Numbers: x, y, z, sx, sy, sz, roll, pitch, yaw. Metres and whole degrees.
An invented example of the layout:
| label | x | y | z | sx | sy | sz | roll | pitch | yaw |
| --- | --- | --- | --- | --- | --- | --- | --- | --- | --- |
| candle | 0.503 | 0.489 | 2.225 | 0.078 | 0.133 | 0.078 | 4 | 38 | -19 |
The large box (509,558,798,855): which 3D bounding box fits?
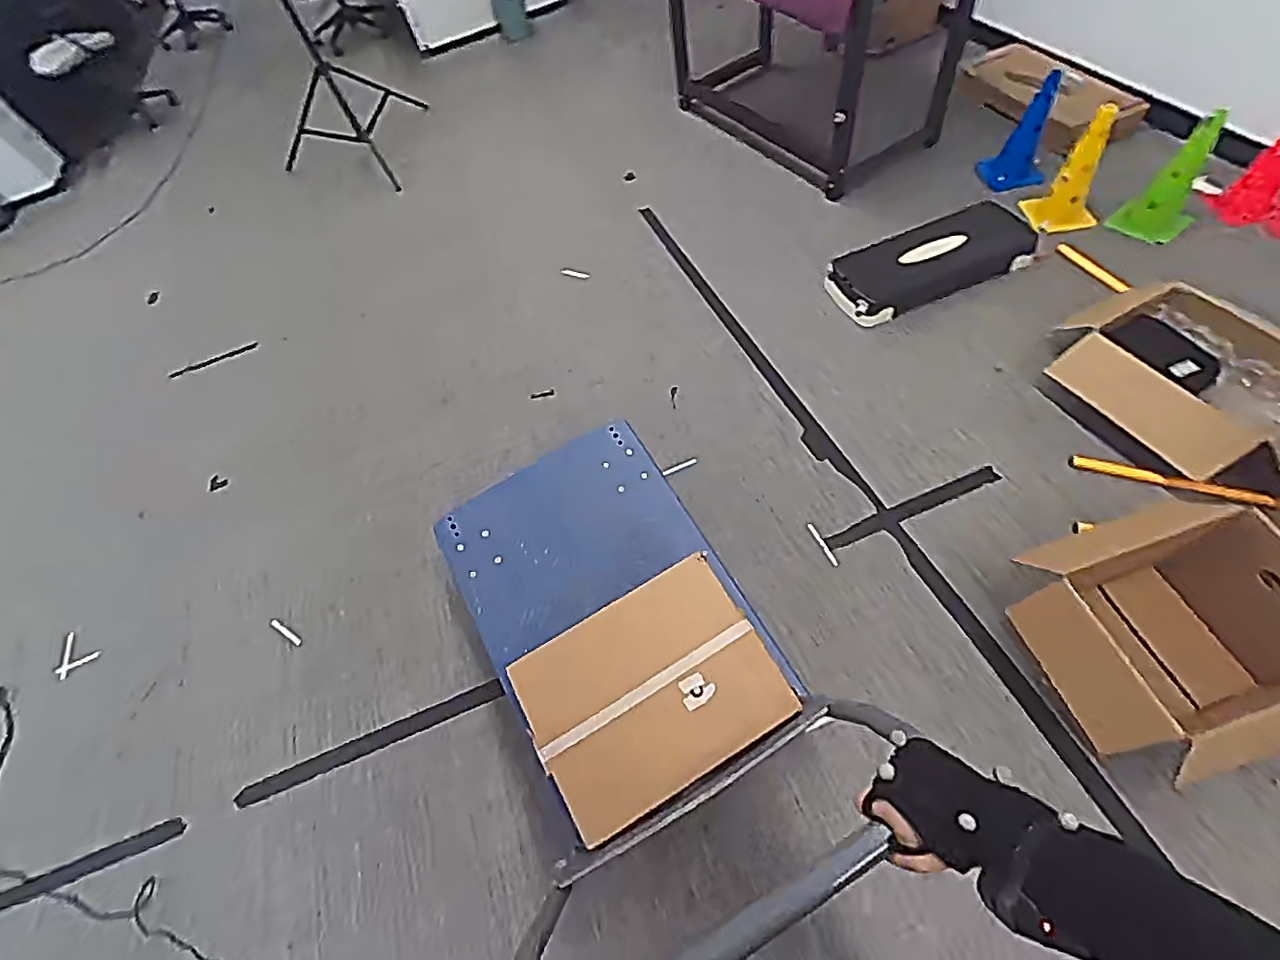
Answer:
| label | x | y | z | sx | sy | sz | roll | pitch | yaw |
| --- | --- | --- | --- | --- | --- | --- | --- | --- | --- |
| large box | 0.027 | 0.418 | 1.041 | 0.408 | 0.320 | 0.320 | -30 | 68 | -8 |
